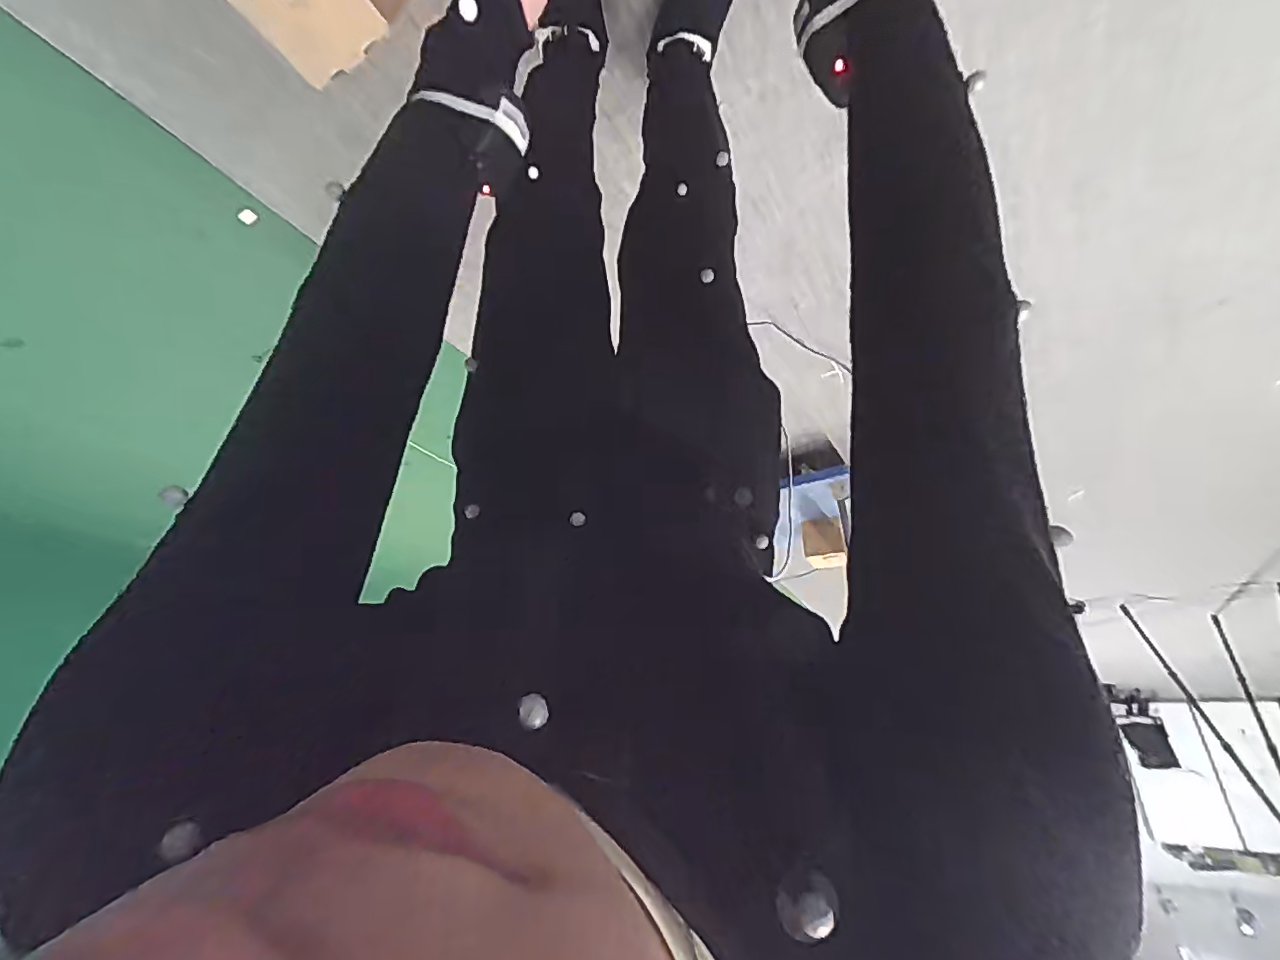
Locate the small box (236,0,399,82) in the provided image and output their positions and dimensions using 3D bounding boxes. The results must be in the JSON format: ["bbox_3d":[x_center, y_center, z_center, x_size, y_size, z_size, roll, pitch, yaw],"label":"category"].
[{"bbox_3d":[-0.424,-0.683,0.699,0.168,0.176,0.179,-11,151,26],"label":"small box"}]

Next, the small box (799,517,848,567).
[{"bbox_3d":[0.810,0.271,2.391,0.168,0.176,0.179,-13,150,27],"label":"small box"}]
